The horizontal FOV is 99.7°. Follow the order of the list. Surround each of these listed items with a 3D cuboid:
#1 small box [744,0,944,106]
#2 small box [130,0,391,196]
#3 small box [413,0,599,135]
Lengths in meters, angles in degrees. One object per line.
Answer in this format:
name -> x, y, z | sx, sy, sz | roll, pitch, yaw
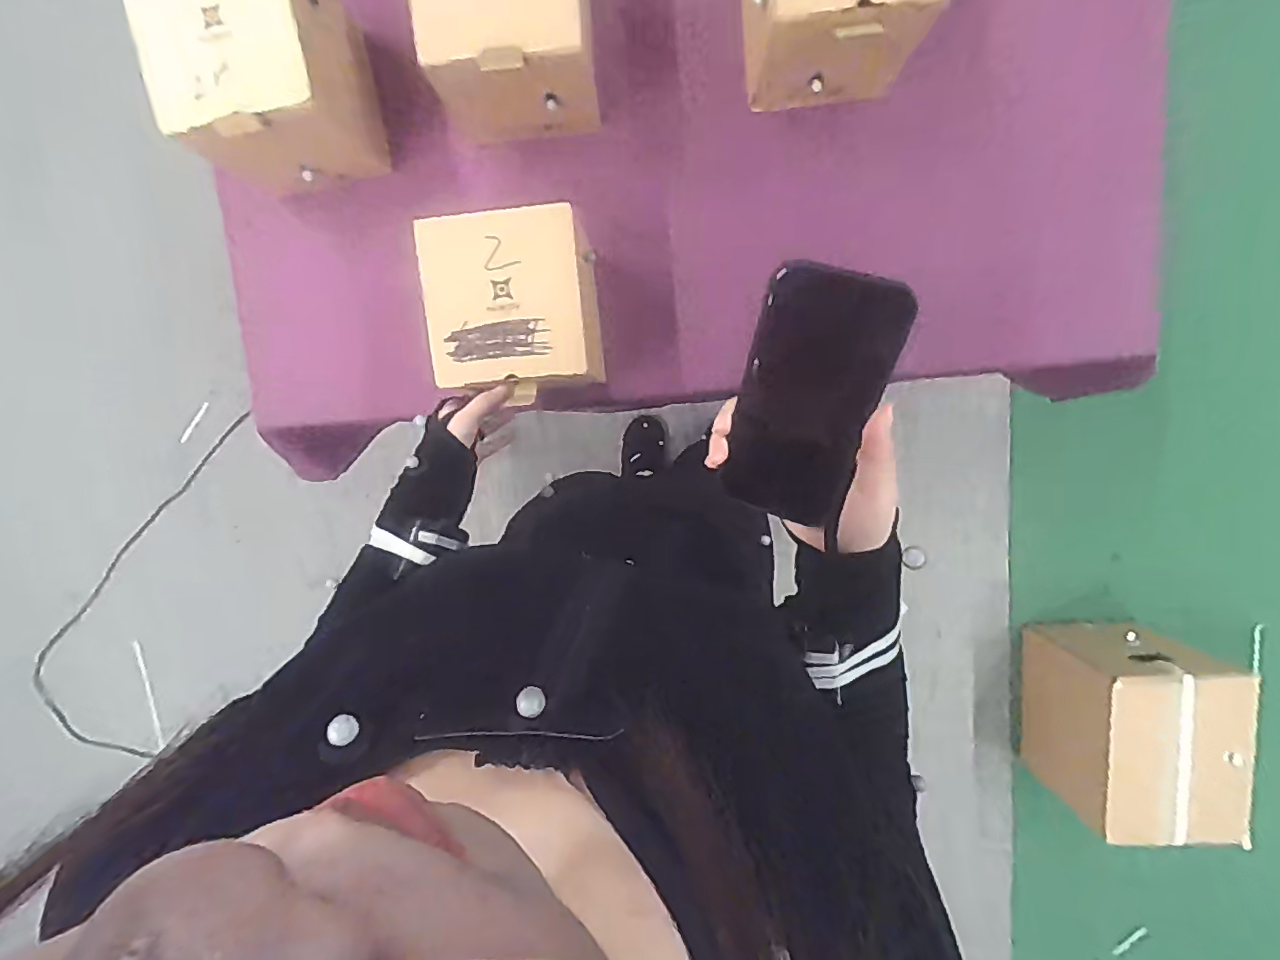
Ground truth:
small box -> 0.207, -0.546, 0.579 | 0.168, 0.176, 0.179 | -6, 98, 4
small box -> -0.416, -0.459, 0.618 | 0.168, 0.176, 0.179 | -10, 98, 4
small box -> -0.140, -0.511, 0.600 | 0.168, 0.176, 0.179 | -4, 98, 2
